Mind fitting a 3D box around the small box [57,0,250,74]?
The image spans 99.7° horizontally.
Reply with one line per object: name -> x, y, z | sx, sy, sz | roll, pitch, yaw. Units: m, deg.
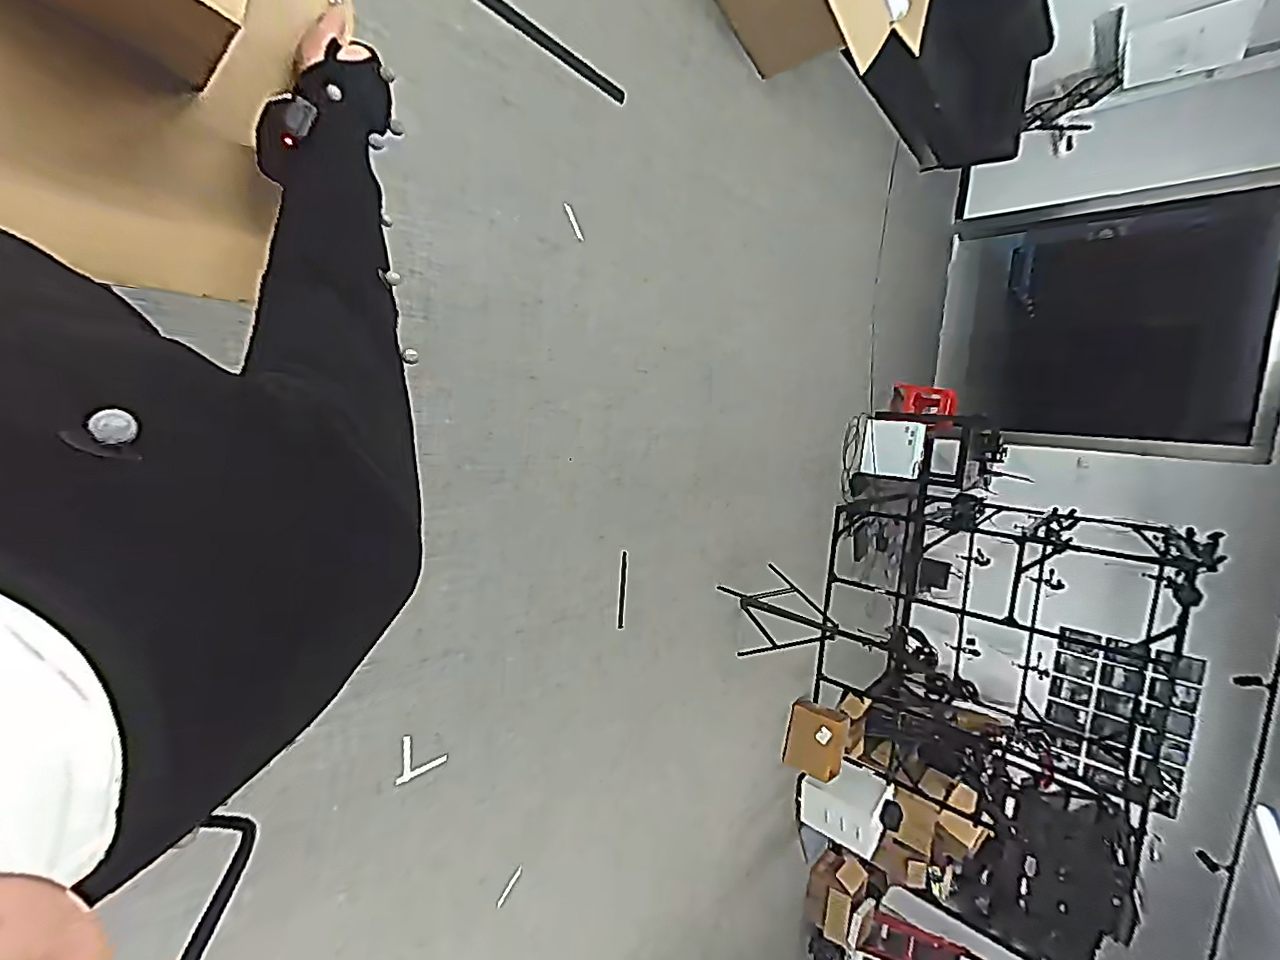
small box -> -0.373, -0.430, 0.372 | 0.179, 0.176, 0.168 | 12, 95, -47
